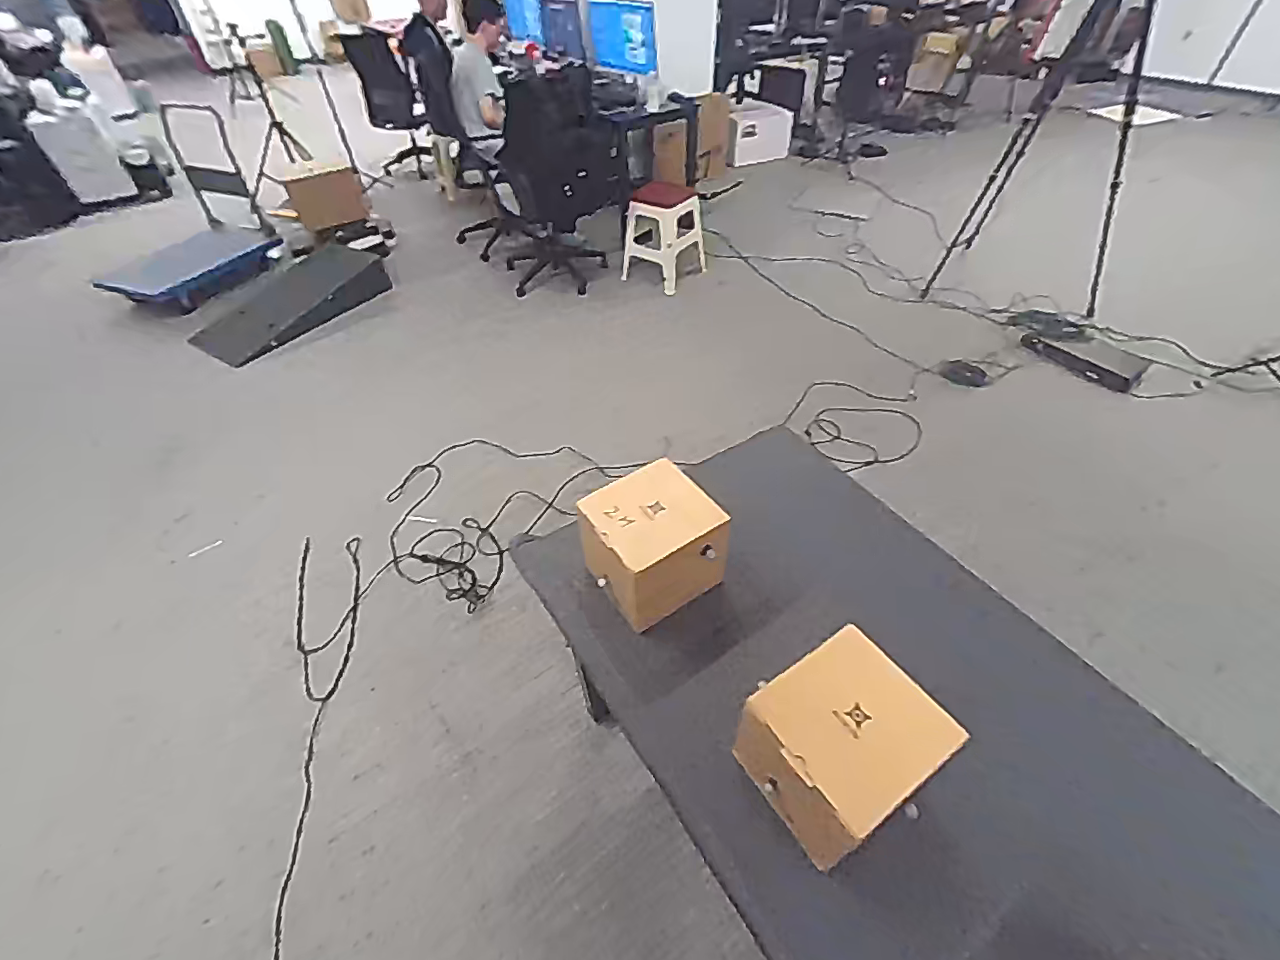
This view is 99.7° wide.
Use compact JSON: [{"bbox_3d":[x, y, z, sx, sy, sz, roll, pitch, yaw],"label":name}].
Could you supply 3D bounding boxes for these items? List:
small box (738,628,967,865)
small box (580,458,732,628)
[{"bbox_3d":[0.238,0.319,0.652,0.179,0.176,0.168,-26,51,-22],"label":"small box"},{"bbox_3d":[0.021,0.100,0.865,0.179,0.176,0.168,-26,51,-22],"label":"small box"}]
